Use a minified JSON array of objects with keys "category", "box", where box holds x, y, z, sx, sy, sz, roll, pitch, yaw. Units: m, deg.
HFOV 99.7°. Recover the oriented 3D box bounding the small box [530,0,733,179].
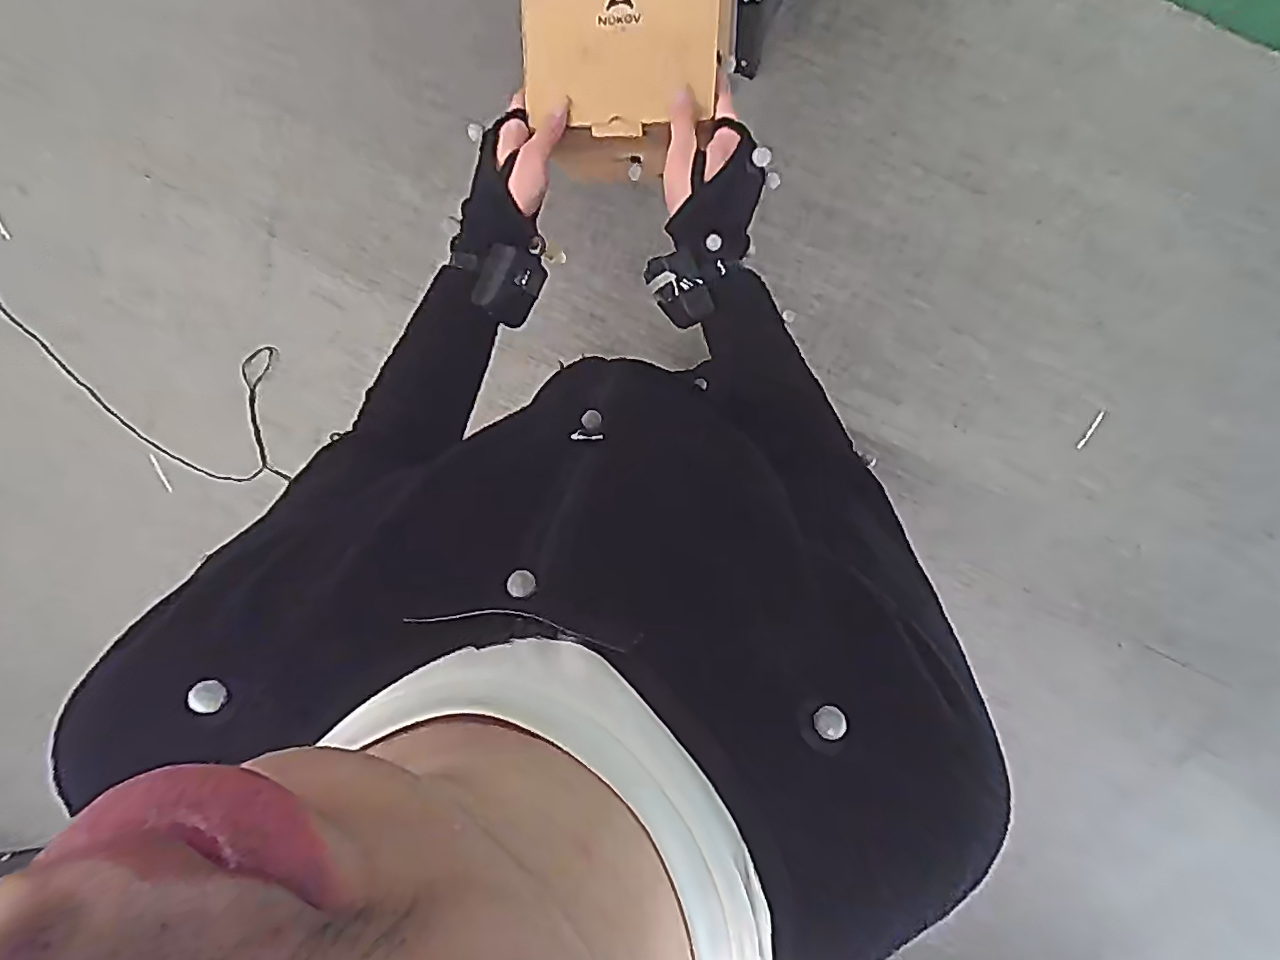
[{"category":"small box","box":[0.003,-0.406,0.522,0.168,0.176,0.179,2,105,10]}]
